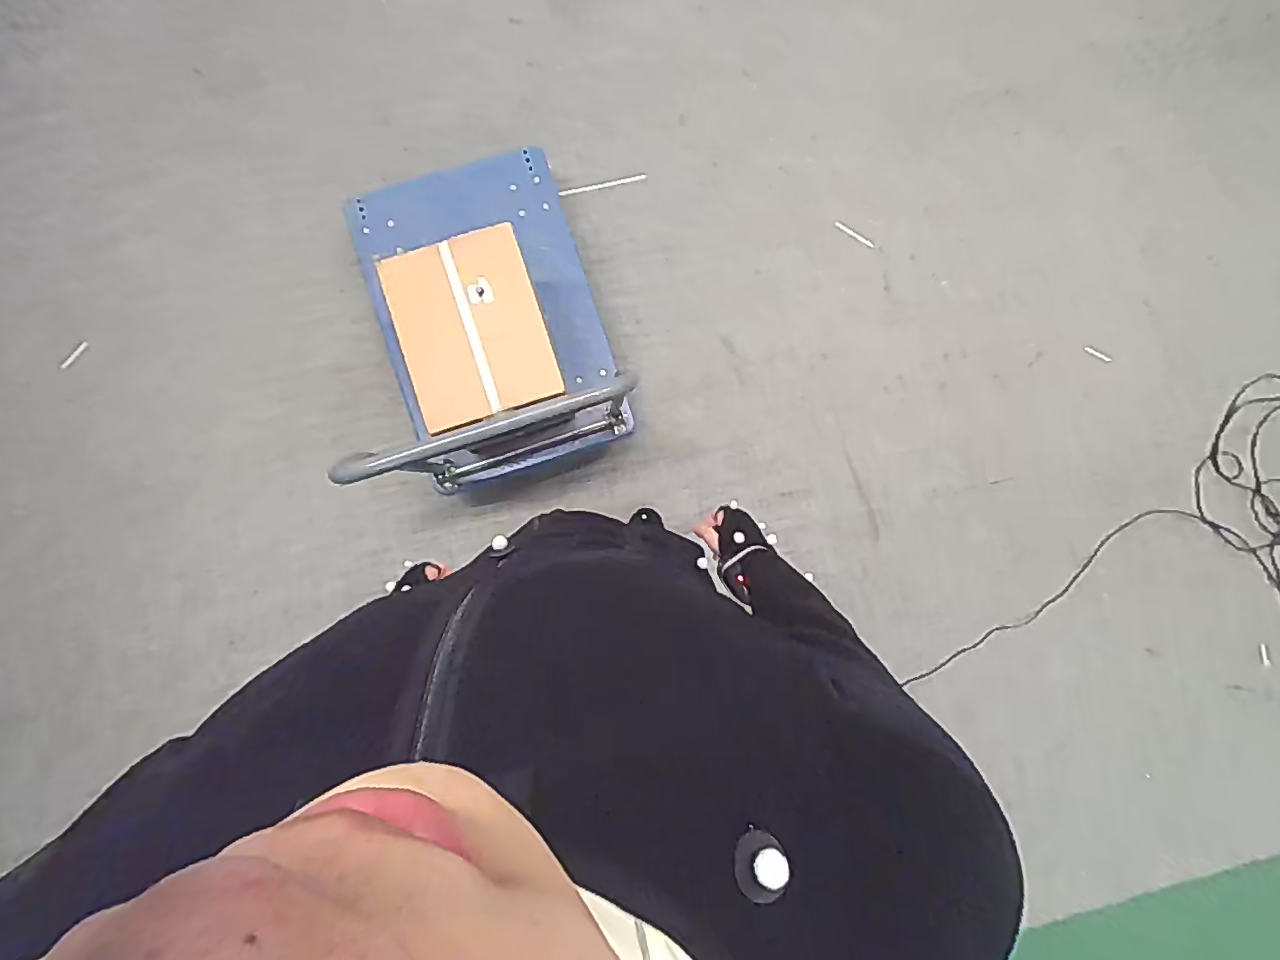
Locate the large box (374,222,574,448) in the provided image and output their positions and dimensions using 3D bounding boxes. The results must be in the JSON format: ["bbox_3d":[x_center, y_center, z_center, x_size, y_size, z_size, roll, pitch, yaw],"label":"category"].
[{"bbox_3d":[-0.379,-0.329,1.328,0.320,0.320,0.408,-19,87,-4],"label":"large box"}]
